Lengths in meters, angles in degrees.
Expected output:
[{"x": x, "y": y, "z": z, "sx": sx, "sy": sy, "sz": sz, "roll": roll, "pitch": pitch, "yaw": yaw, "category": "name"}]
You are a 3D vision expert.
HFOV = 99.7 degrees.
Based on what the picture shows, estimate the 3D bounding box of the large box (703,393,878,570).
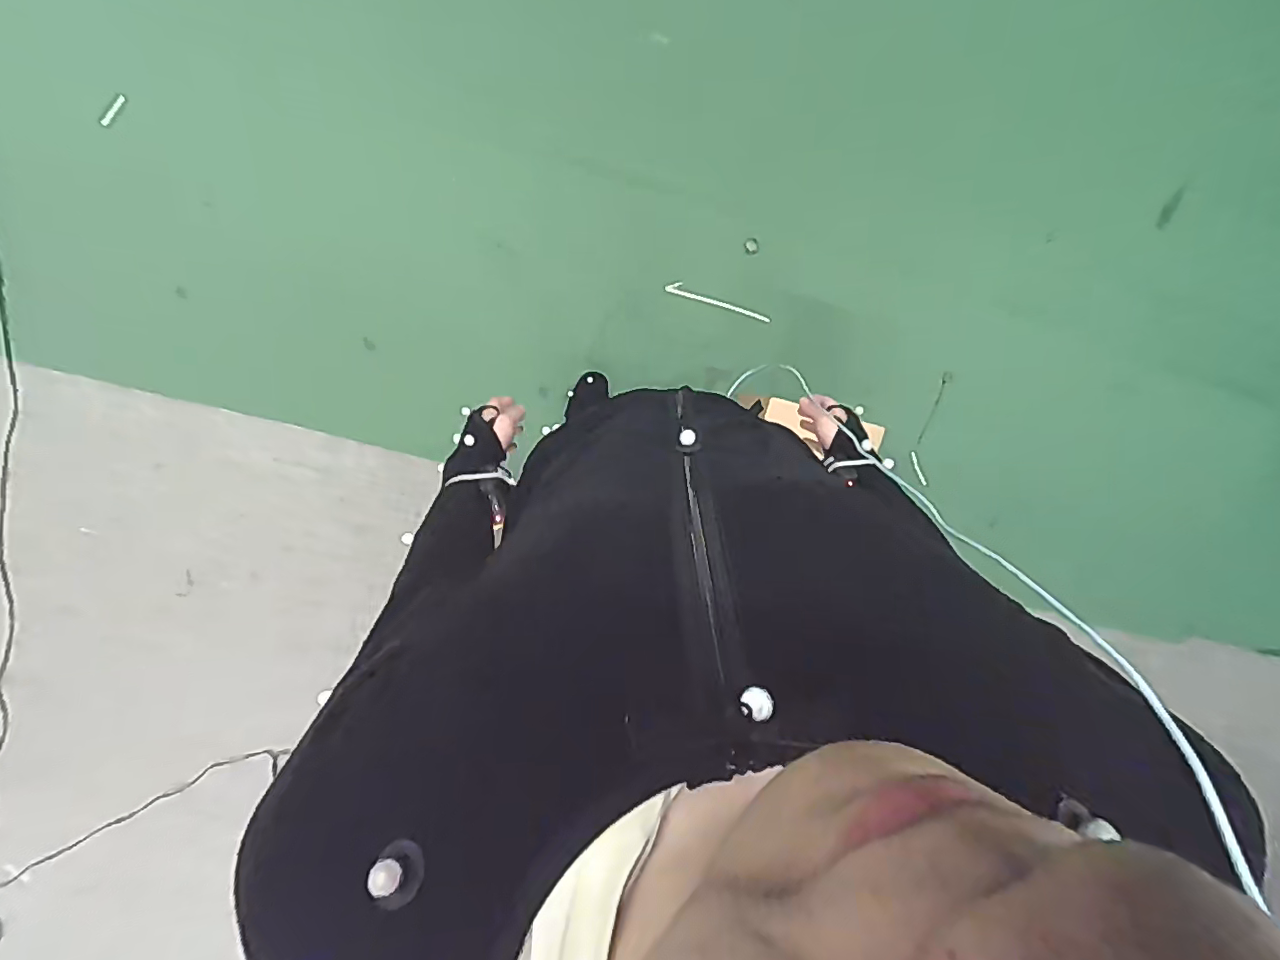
[{"x": 0.399, "y": -0.011, "z": 1.530, "sx": 0.320, "sy": 0.320, "sz": 0.408, "roll": 14, "pitch": 101, "yaw": -7, "category": "large box"}]
